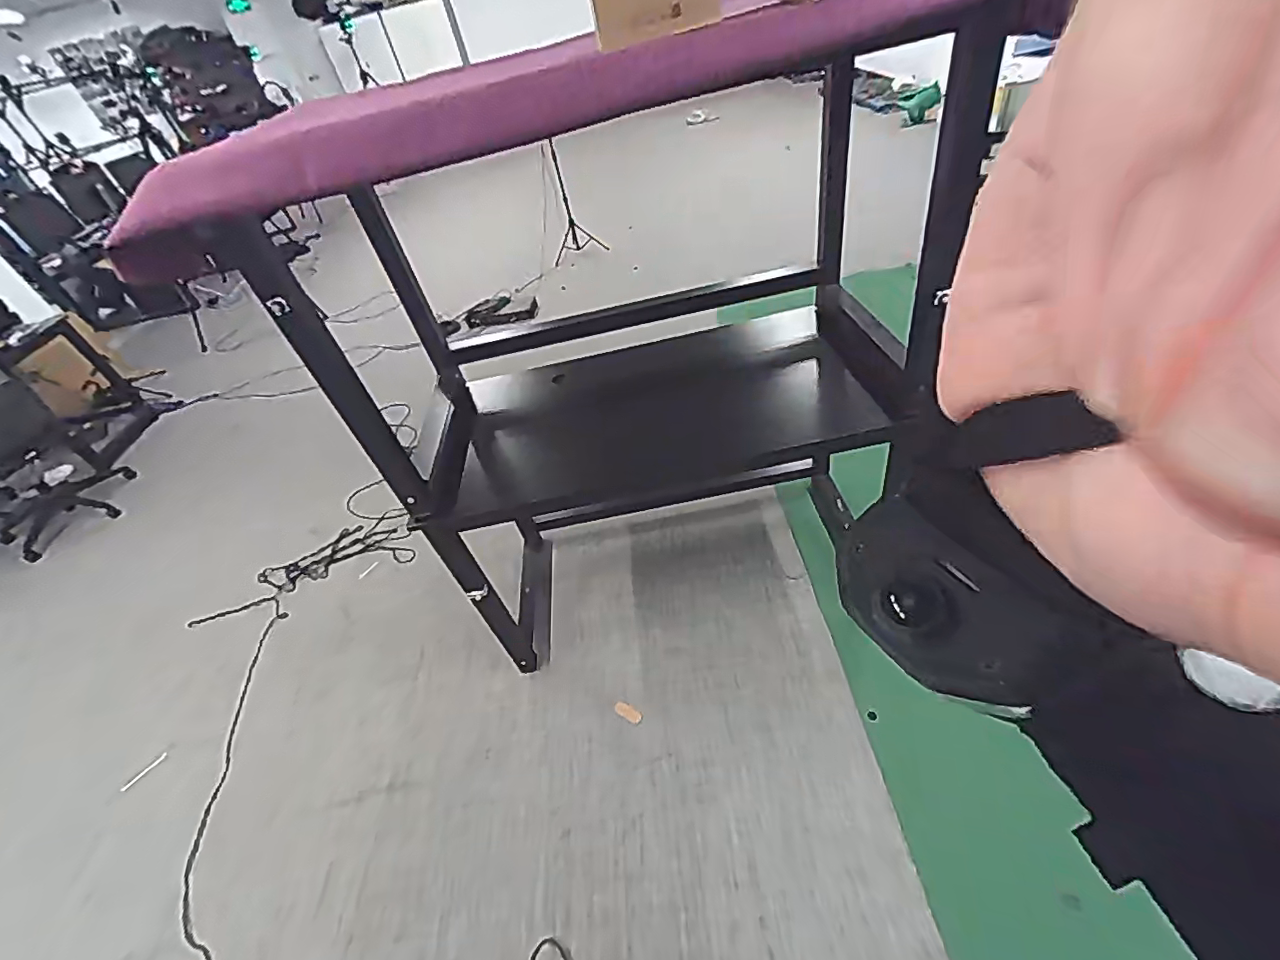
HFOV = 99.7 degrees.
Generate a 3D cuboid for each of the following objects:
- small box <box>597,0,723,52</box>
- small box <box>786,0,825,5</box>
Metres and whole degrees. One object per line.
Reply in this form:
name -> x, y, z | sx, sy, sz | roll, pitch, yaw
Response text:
small box -> 0.015, -0.712, 0.745 | 0.168, 0.176, 0.179 | -11, 40, 4
small box -> 0.292, -0.762, 0.721 | 0.168, 0.176, 0.179 | -11, 41, 5
